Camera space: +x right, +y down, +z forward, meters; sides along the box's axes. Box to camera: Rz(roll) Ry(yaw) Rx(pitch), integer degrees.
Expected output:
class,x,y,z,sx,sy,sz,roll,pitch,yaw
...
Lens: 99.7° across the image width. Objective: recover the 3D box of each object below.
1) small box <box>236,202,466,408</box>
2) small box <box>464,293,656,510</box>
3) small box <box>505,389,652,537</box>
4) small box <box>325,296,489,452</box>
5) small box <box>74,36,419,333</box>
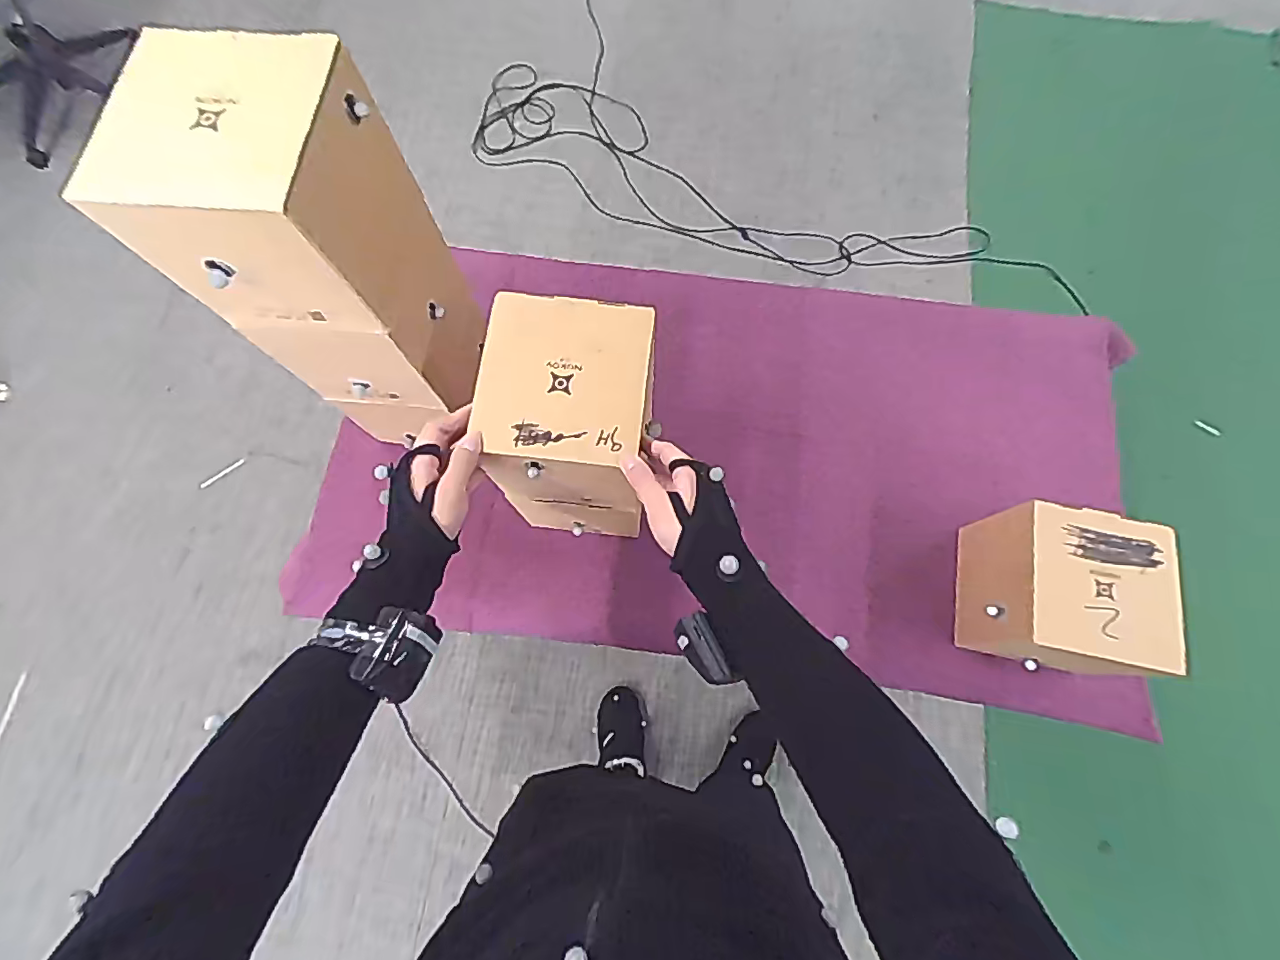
class,x,y,z,sx,sy,sz,roll,pitch,yaw
small box,-0.322,-0.205,0.646,0.168,0.176,0.179,5,74,3
small box,-0.075,-0.077,0.604,0.168,0.176,0.179,6,73,2
small box,-0.075,-0.028,0.762,0.168,0.176,0.179,6,73,3
small box,-0.322,-0.157,0.802,0.168,0.176,0.179,5,74,2
small box,-0.324,-0.252,0.491,0.168,0.176,0.179,4,73,3
